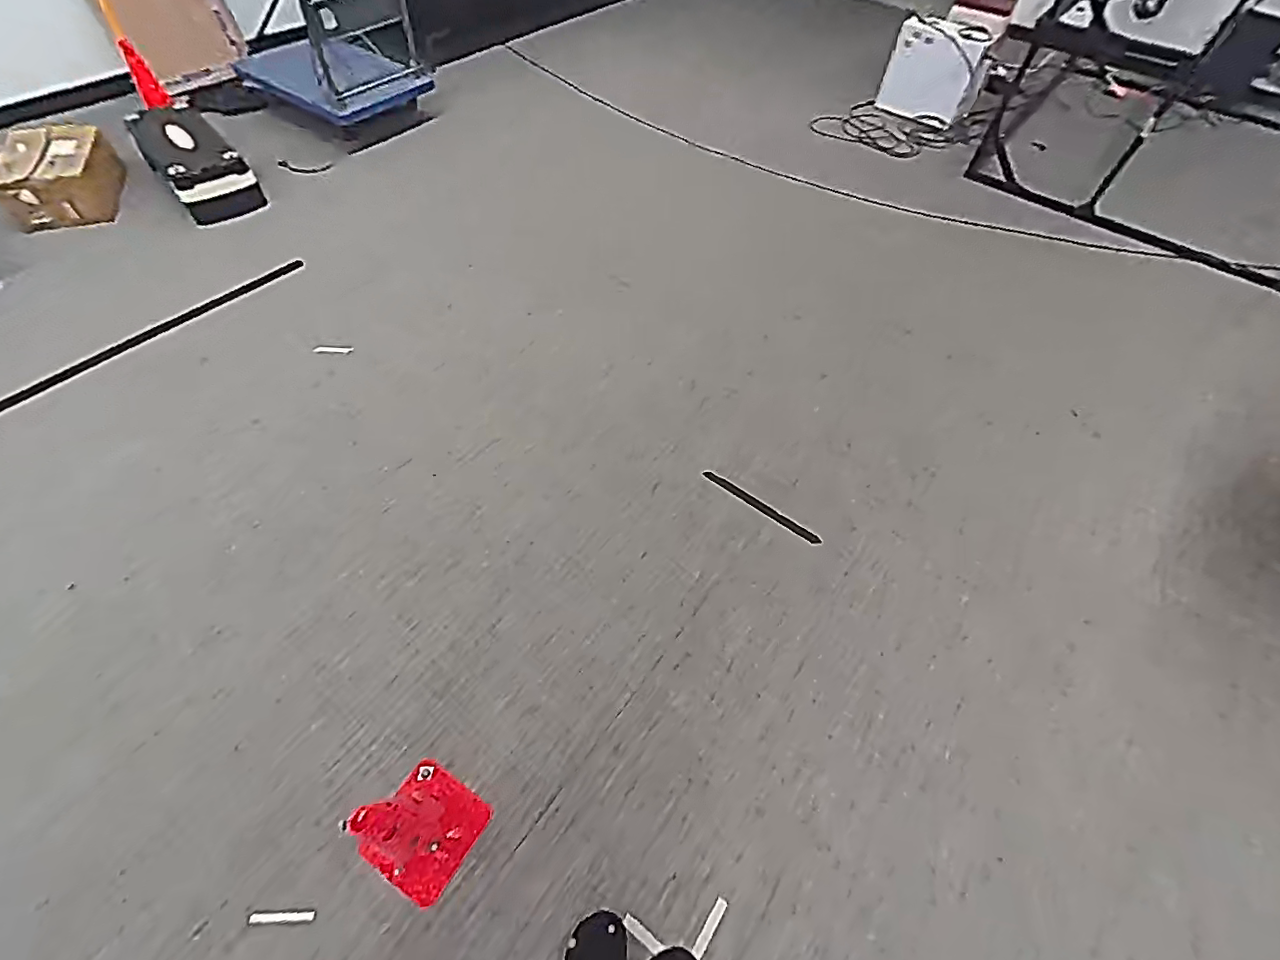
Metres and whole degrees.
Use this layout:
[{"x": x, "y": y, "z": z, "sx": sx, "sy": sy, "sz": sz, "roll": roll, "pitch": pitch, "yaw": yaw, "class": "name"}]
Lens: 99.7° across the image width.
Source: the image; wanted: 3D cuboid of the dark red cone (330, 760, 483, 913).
[{"x": -0.433, "y": 0.605, "z": 0.935, "sx": 0.202, "sy": 0.394, "sz": 0.201, "roll": 28, "pitch": 59, "yaw": 15, "class": "dark red cone"}]
